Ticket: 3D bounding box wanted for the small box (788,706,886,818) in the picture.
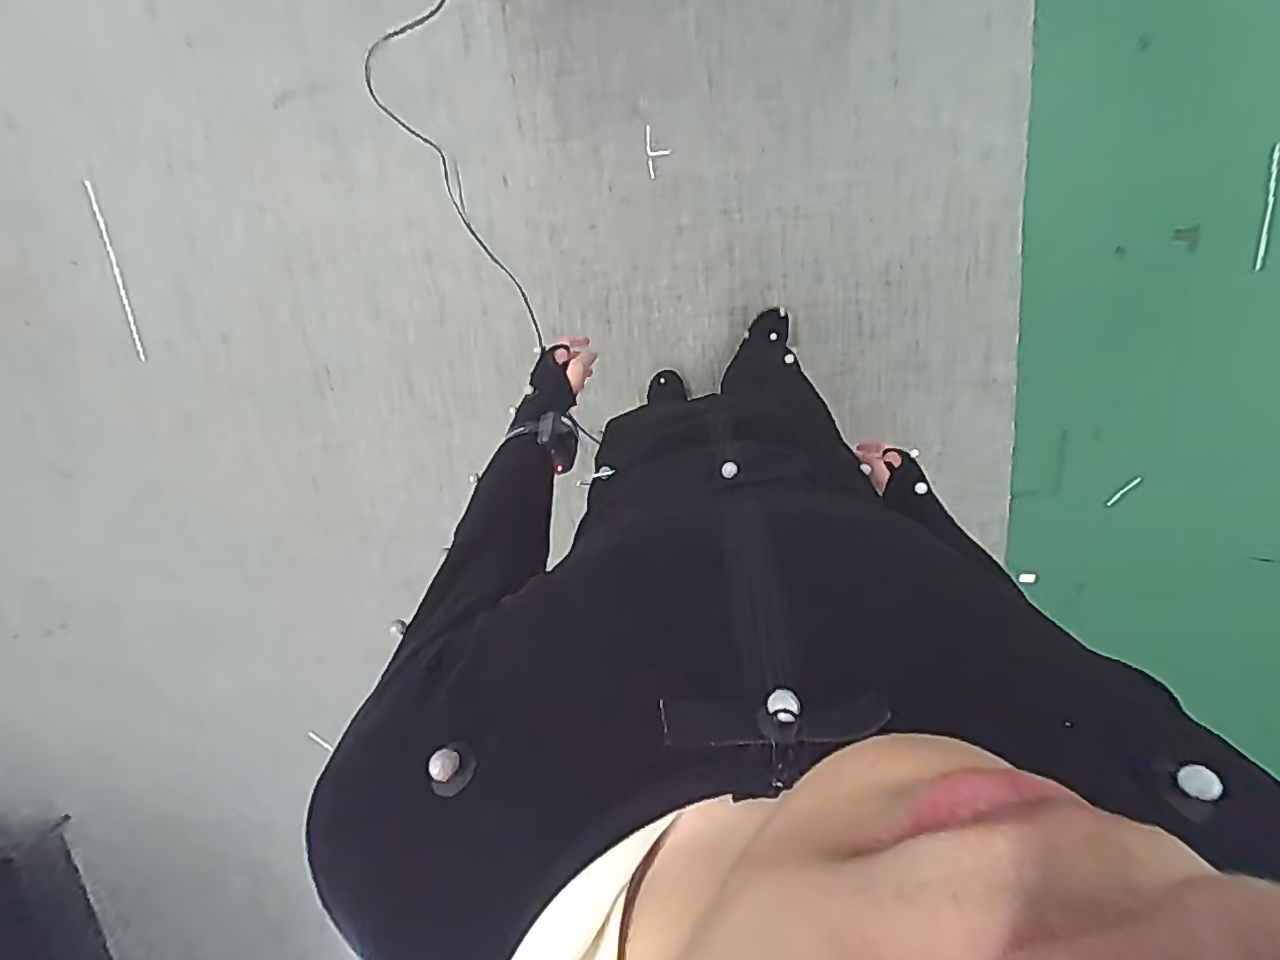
[{"bbox_3d":[0.452,0.648,1.258,0.179,0.176,0.168,-5,102,4],"label":"small box"}]
